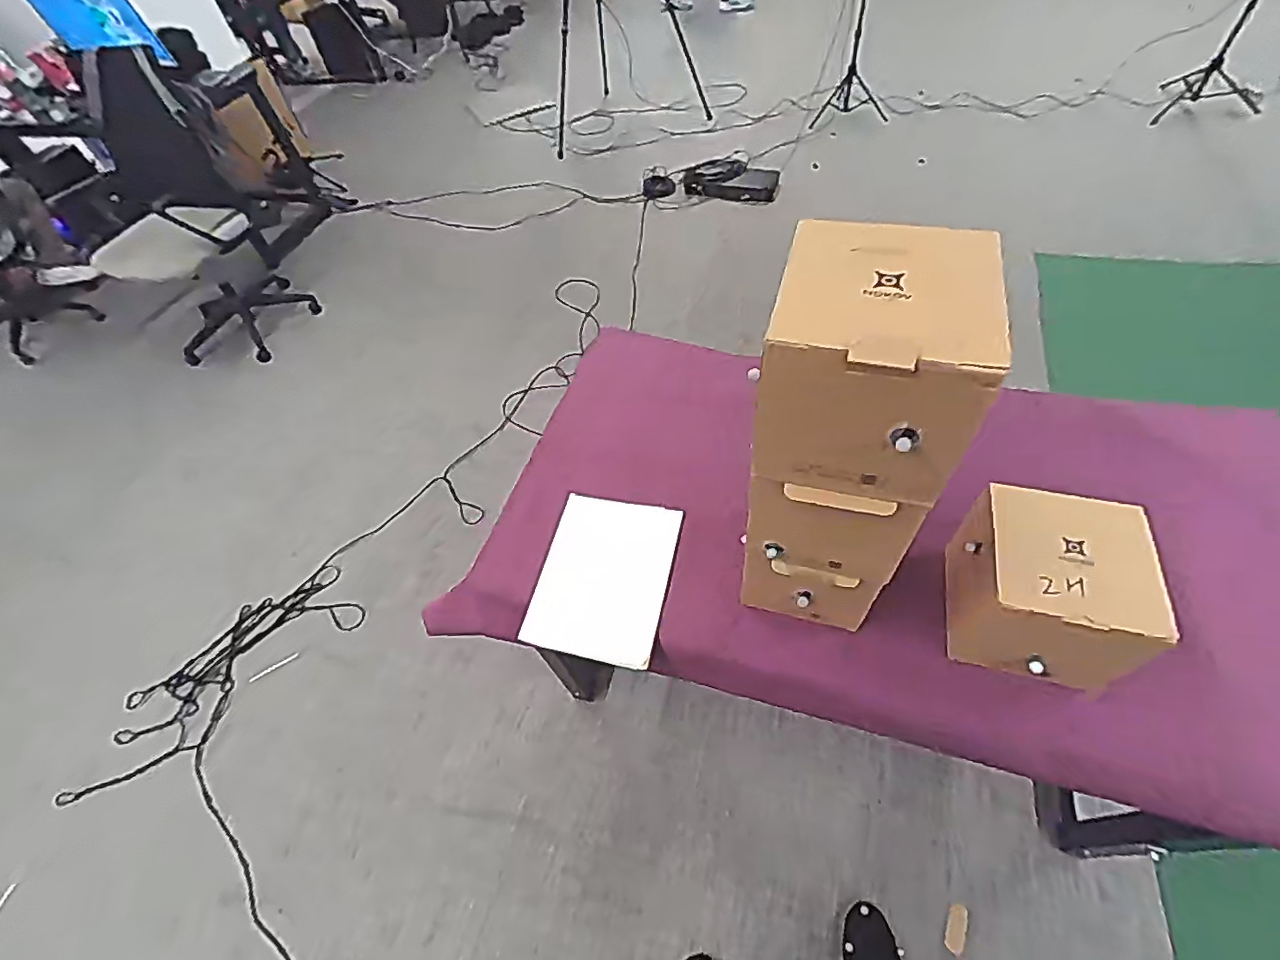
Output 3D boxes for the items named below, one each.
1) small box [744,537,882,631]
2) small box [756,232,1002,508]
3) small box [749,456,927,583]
[{"bbox_3d":[0.244,0.090,0.761,0.168,0.176,0.179,11,56,15],"label":"small box"},{"bbox_3d":[0.204,-0.098,0.494,0.168,0.176,0.179,12,55,16],"label":"small box"},{"bbox_3d":[0.224,-0.004,0.627,0.168,0.176,0.179,11,55,16],"label":"small box"}]
